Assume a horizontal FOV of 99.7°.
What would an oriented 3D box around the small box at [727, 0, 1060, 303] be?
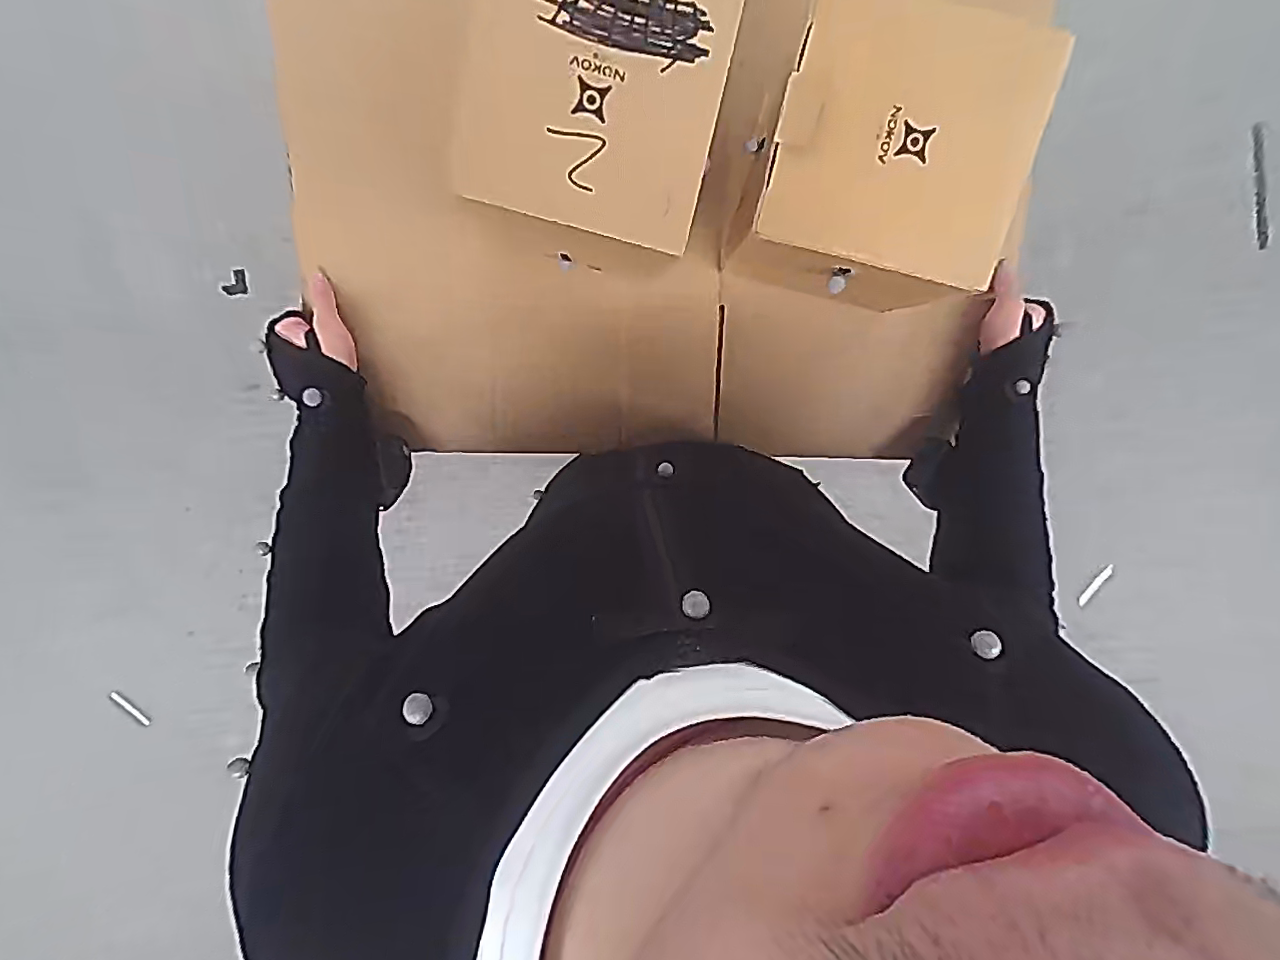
[{"bbox_3d":[0.186,-0.255,0.460,0.179,0.176,0.168,14,102,-1],"label":"small box"}]
